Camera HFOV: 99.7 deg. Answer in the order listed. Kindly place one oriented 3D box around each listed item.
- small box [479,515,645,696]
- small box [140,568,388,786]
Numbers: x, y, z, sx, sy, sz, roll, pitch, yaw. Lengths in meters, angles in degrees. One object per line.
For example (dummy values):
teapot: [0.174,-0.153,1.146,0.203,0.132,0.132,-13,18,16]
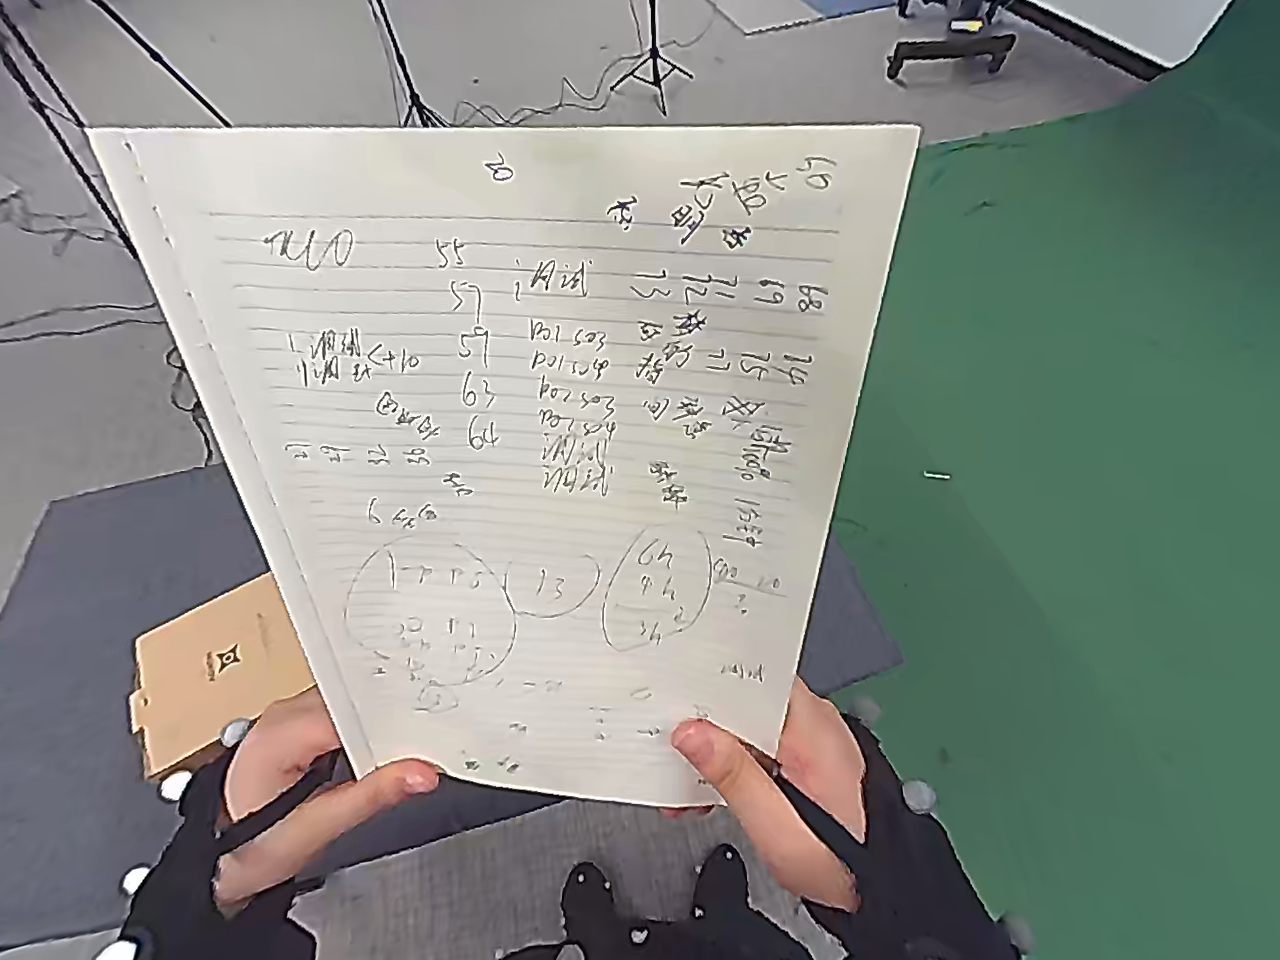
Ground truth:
small box: [-0.083,0.161,0.678,0.168,0.176,0.179,-3,57,4]
small box: [-0.446,0.244,0.659,0.179,0.176,0.168,-29,60,-15]
